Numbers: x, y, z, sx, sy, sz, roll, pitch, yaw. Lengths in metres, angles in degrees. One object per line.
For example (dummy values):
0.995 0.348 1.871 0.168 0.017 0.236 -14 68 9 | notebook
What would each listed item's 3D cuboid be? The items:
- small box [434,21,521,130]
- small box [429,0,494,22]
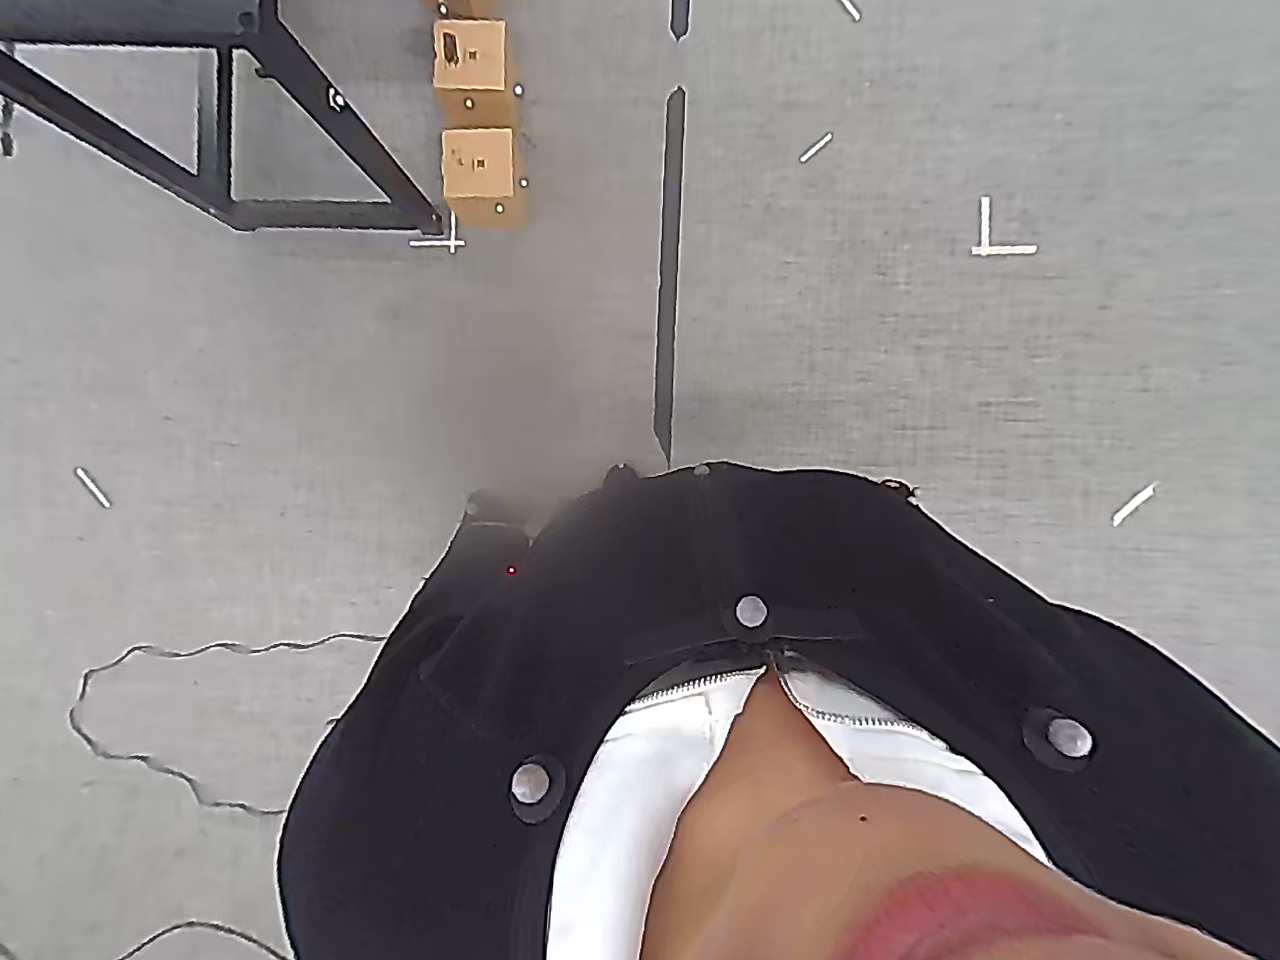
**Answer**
-0.416 -1.039 1.401 0.179 0.176 0.168 1 92 -1 | small box
-0.474 -1.335 1.394 0.168 0.176 0.179 23 93 1 | small box
